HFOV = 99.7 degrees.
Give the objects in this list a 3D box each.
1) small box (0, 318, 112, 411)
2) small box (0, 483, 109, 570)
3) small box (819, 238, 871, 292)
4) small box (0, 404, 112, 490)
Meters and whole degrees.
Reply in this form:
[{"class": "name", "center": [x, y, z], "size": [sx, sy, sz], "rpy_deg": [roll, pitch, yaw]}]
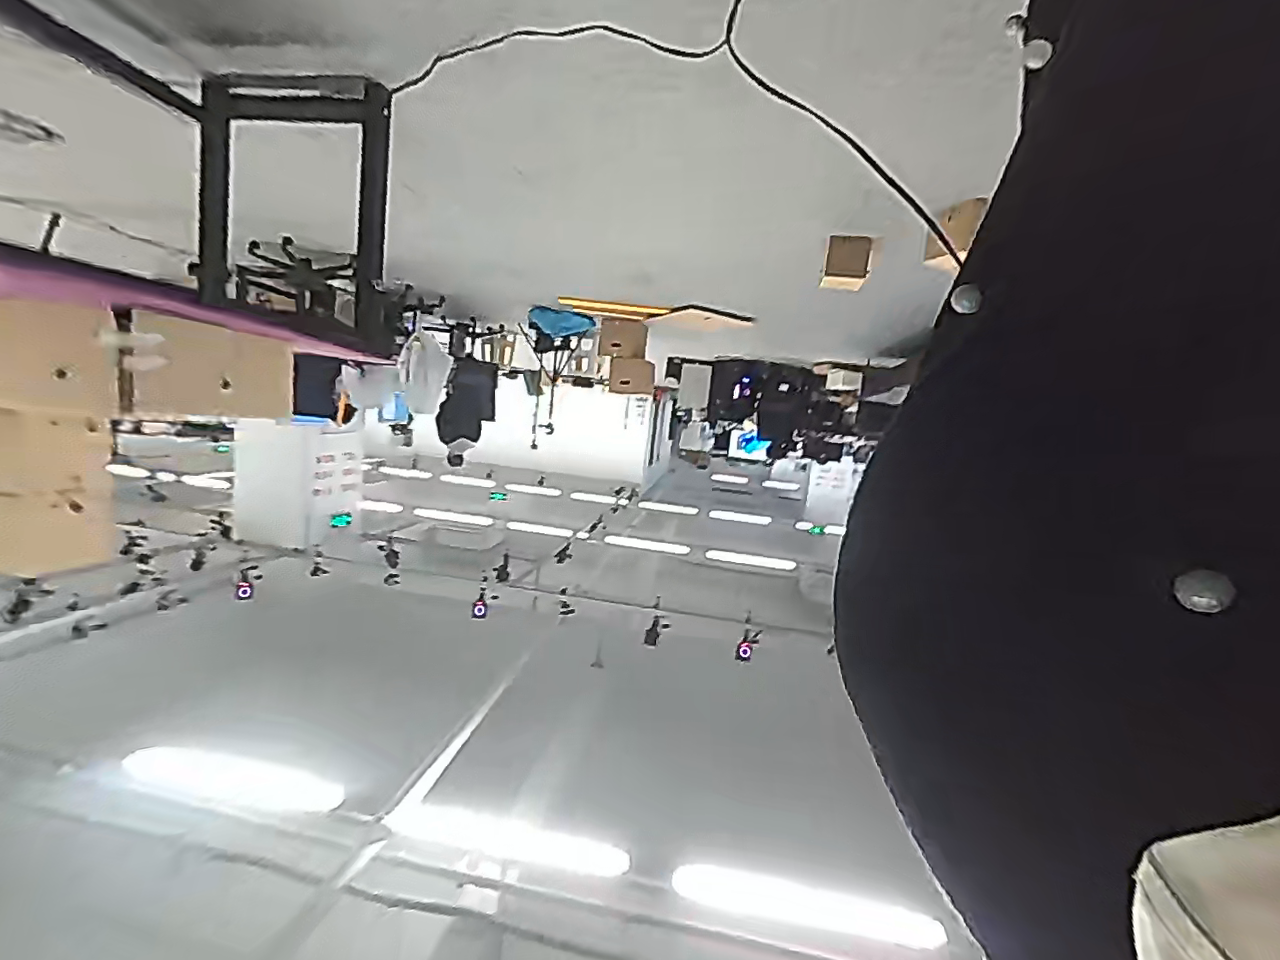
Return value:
[{"class": "small box", "center": [-1.263, -0.240, 1.133], "size": [0.179, 0.176, 0.168], "rpy_deg": [6, -175, 8]}, {"class": "small box", "center": [-1.302, 0.083, 1.164], "size": [0.179, 0.176, 0.168], "rpy_deg": [6, -174, 8]}, {"class": "small box", "center": [0.859, -0.900, 2.268], "size": [0.168, 0.176, 0.179], "rpy_deg": [9, -173, 10]}, {"class": "small box", "center": [-1.287, -0.079, 1.150], "size": [0.179, 0.176, 0.168], "rpy_deg": [7, -175, 8]}]
